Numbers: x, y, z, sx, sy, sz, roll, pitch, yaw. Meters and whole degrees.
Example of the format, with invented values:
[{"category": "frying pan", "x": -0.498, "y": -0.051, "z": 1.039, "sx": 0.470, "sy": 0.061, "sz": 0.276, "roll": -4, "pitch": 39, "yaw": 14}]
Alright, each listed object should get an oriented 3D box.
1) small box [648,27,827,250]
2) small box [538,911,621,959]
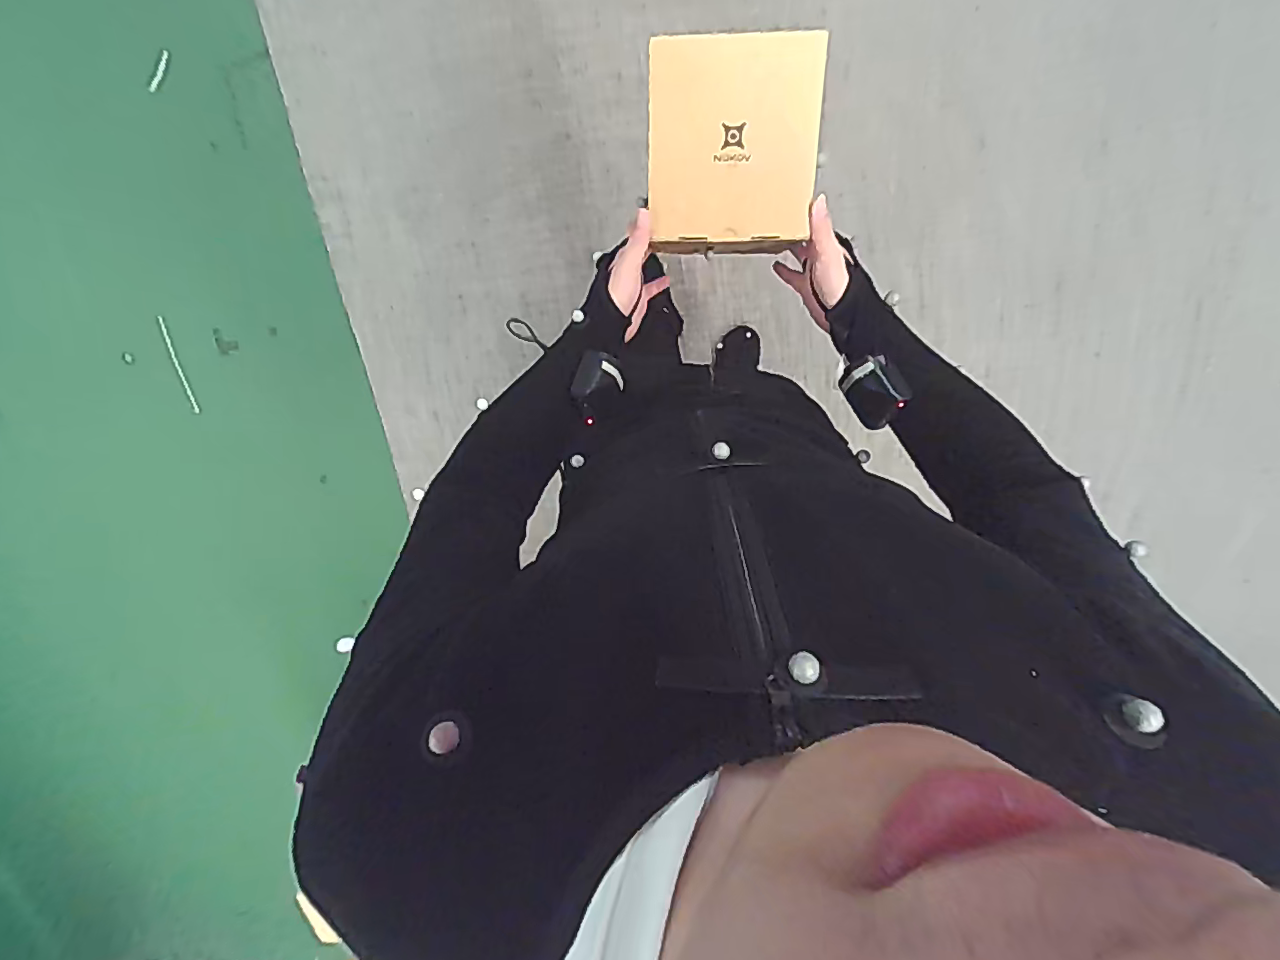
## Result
[{"category": "small box", "x": 0.094, "y": -0.356, "z": 0.597, "sx": 0.168, "sy": 0.176, "sz": 0.179, "roll": 1, "pitch": 110, "yaw": 4}, {"category": "small box", "x": -0.145, "y": 1.176, "z": 1.286, "sx": 0.168, "sy": 0.176, "sz": 0.179, "roll": -4, "pitch": 109, "yaw": 9}]
